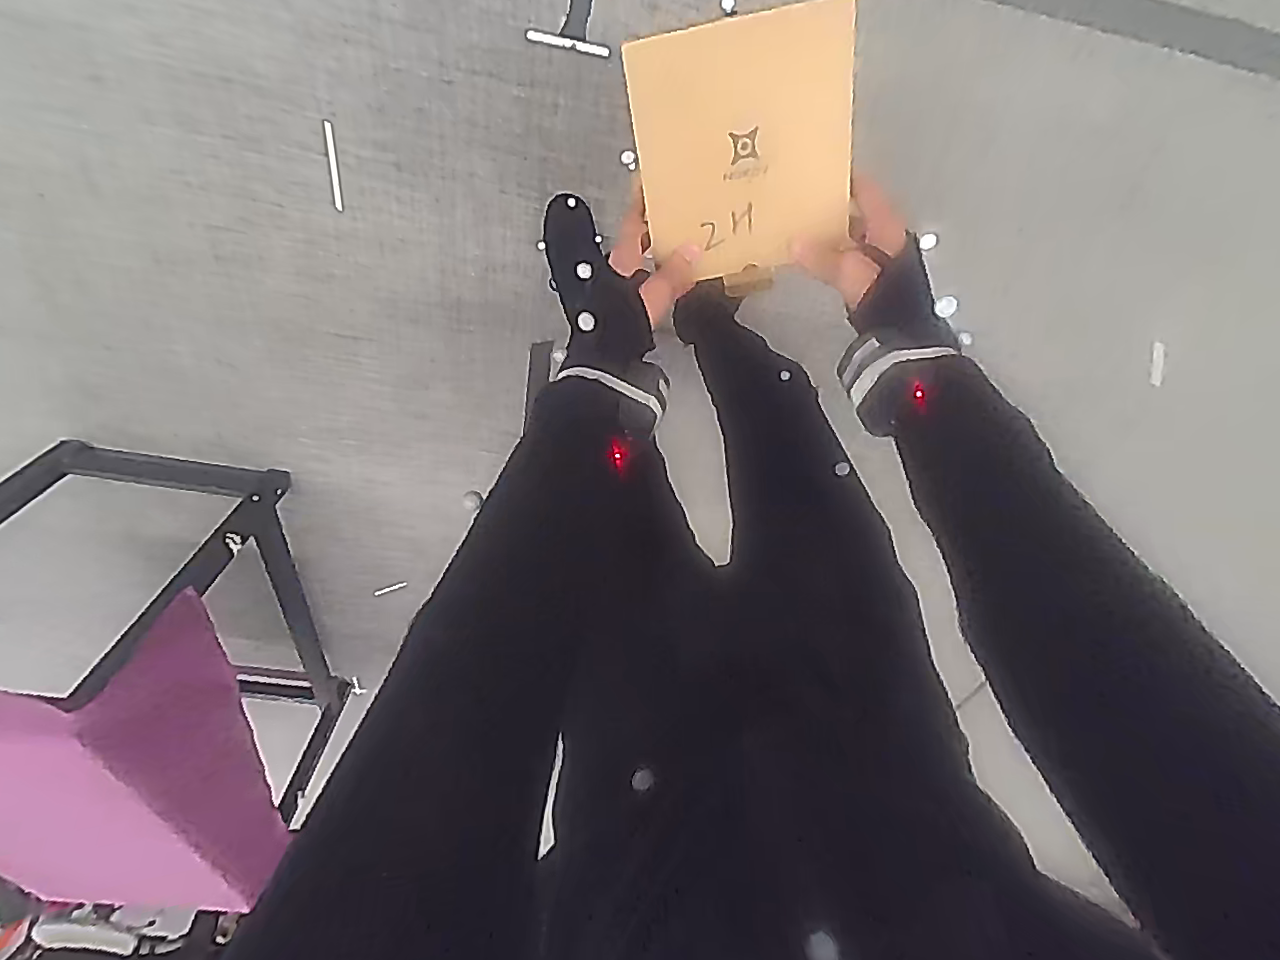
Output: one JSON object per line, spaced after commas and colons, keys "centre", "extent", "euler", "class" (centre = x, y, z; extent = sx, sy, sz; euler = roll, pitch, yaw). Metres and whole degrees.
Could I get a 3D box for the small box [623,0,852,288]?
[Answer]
{"centre": [0.080, -0.301, 0.491], "extent": [0.168, 0.176, 0.179], "euler": [-7, 130, 8], "class": "small box"}
